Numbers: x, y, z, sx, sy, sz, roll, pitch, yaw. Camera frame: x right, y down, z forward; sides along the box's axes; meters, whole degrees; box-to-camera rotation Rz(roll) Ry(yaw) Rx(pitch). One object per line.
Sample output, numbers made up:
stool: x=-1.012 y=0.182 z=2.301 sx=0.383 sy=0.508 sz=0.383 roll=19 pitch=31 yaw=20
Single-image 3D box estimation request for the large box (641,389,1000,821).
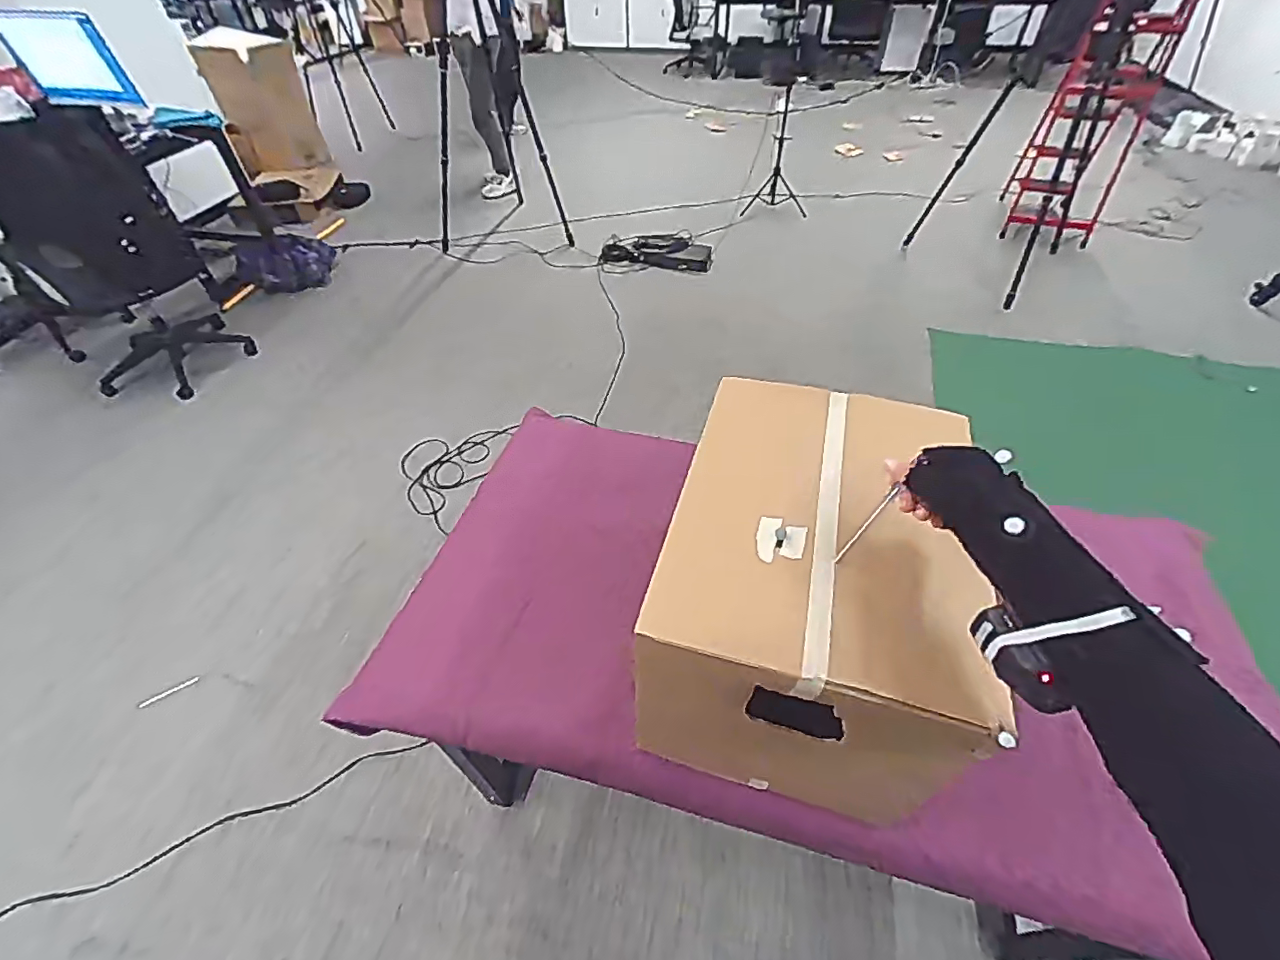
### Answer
large box: x=0.202 y=0.144 z=0.703 sx=0.320 sy=0.320 sz=0.408 roll=12 pitch=48 yaw=13
